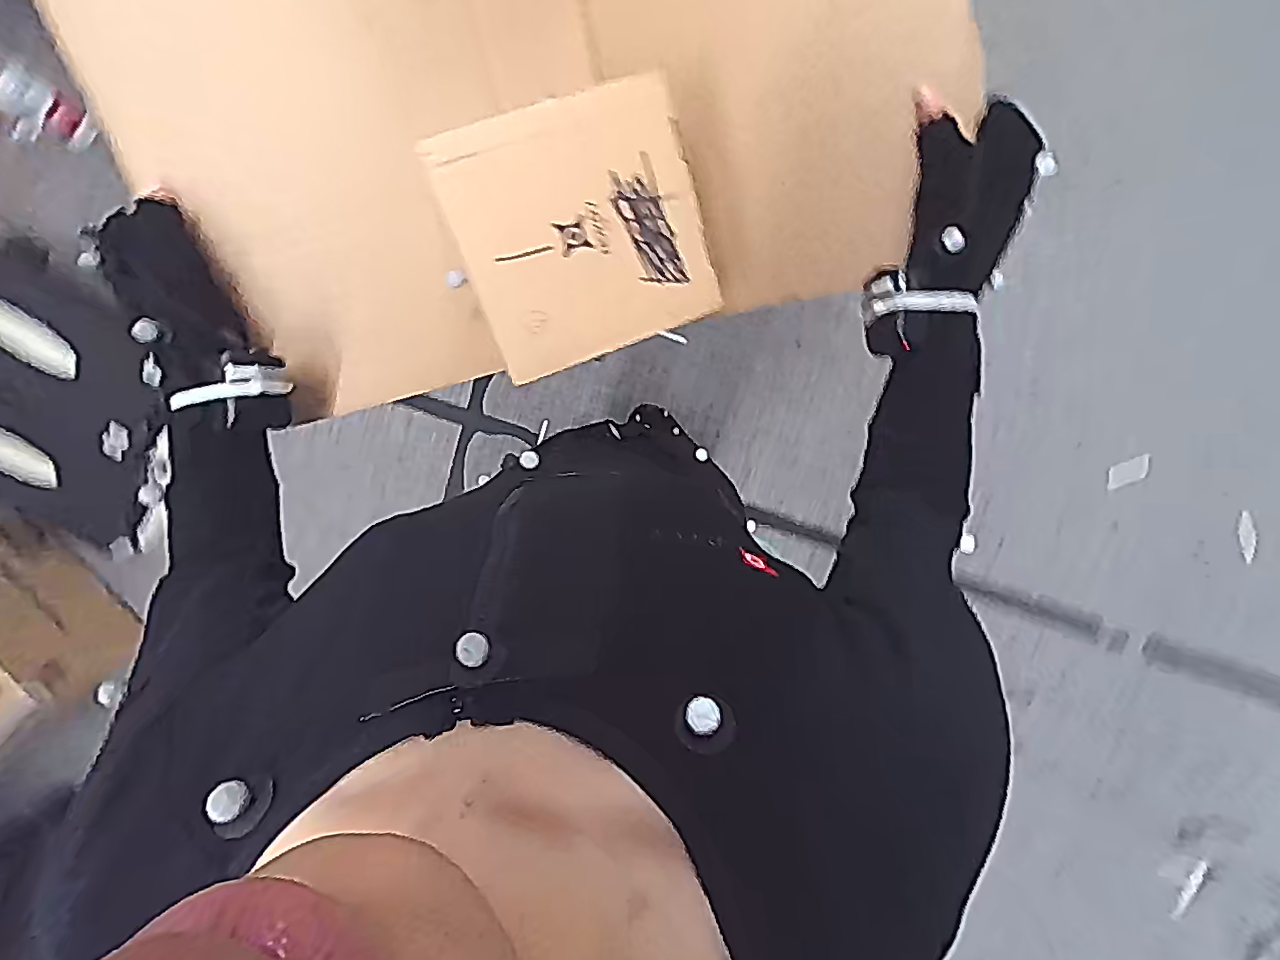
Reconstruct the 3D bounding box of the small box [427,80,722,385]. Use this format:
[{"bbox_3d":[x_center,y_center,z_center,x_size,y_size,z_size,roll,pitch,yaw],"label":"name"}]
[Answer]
[{"bbox_3d":[-0.058,-0.196,0.459,0.179,0.176,0.168,-22,112,-8],"label":"small box"}]
